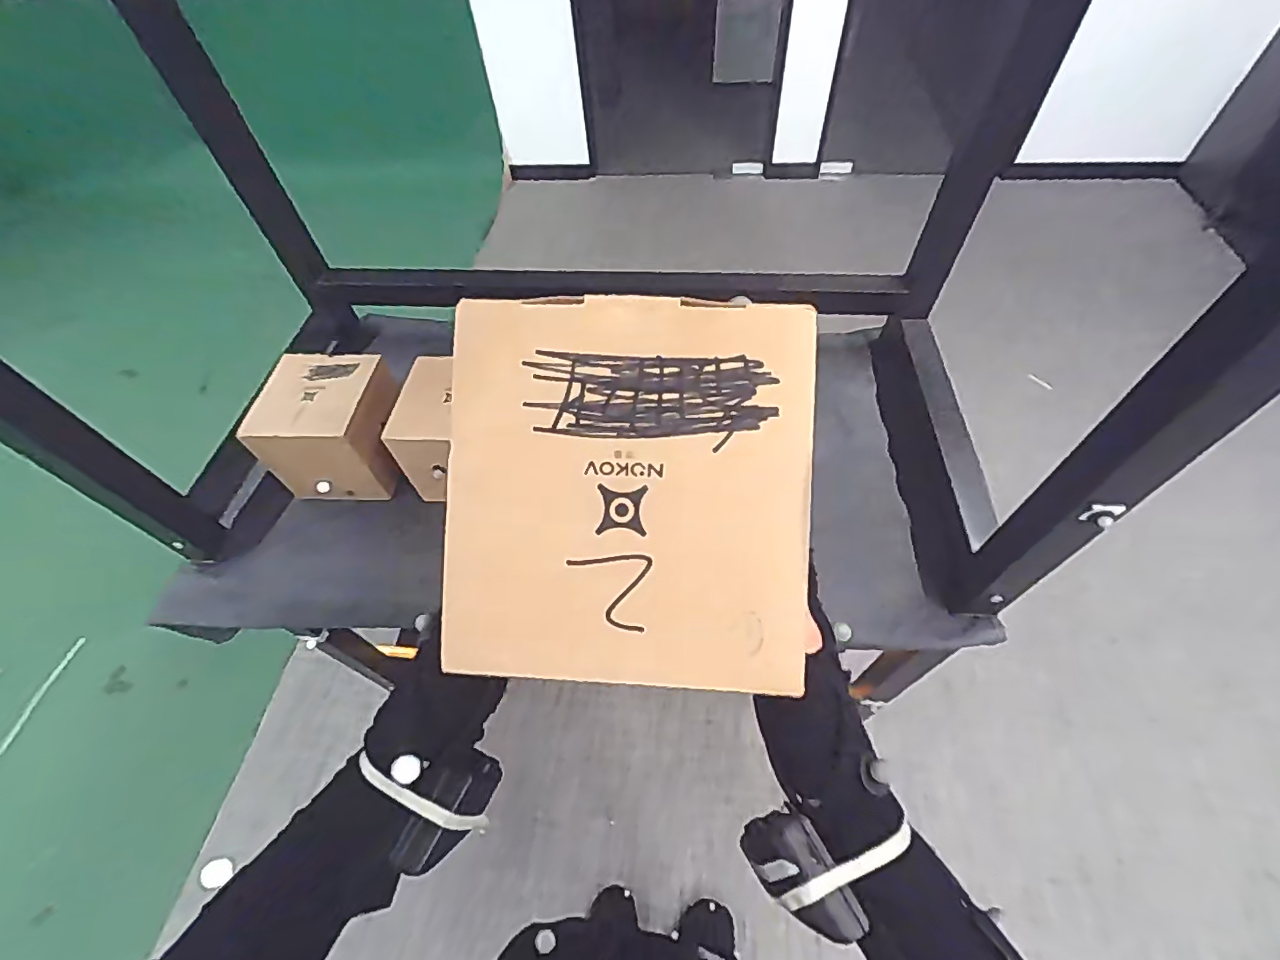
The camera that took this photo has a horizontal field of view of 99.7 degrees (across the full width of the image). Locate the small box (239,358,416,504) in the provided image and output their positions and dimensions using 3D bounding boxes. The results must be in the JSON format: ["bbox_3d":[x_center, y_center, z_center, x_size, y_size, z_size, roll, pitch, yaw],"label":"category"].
[{"bbox_3d":[-0.495,-0.080,0.893,0.168,0.176,0.179,1,54,5],"label":"small box"}]
